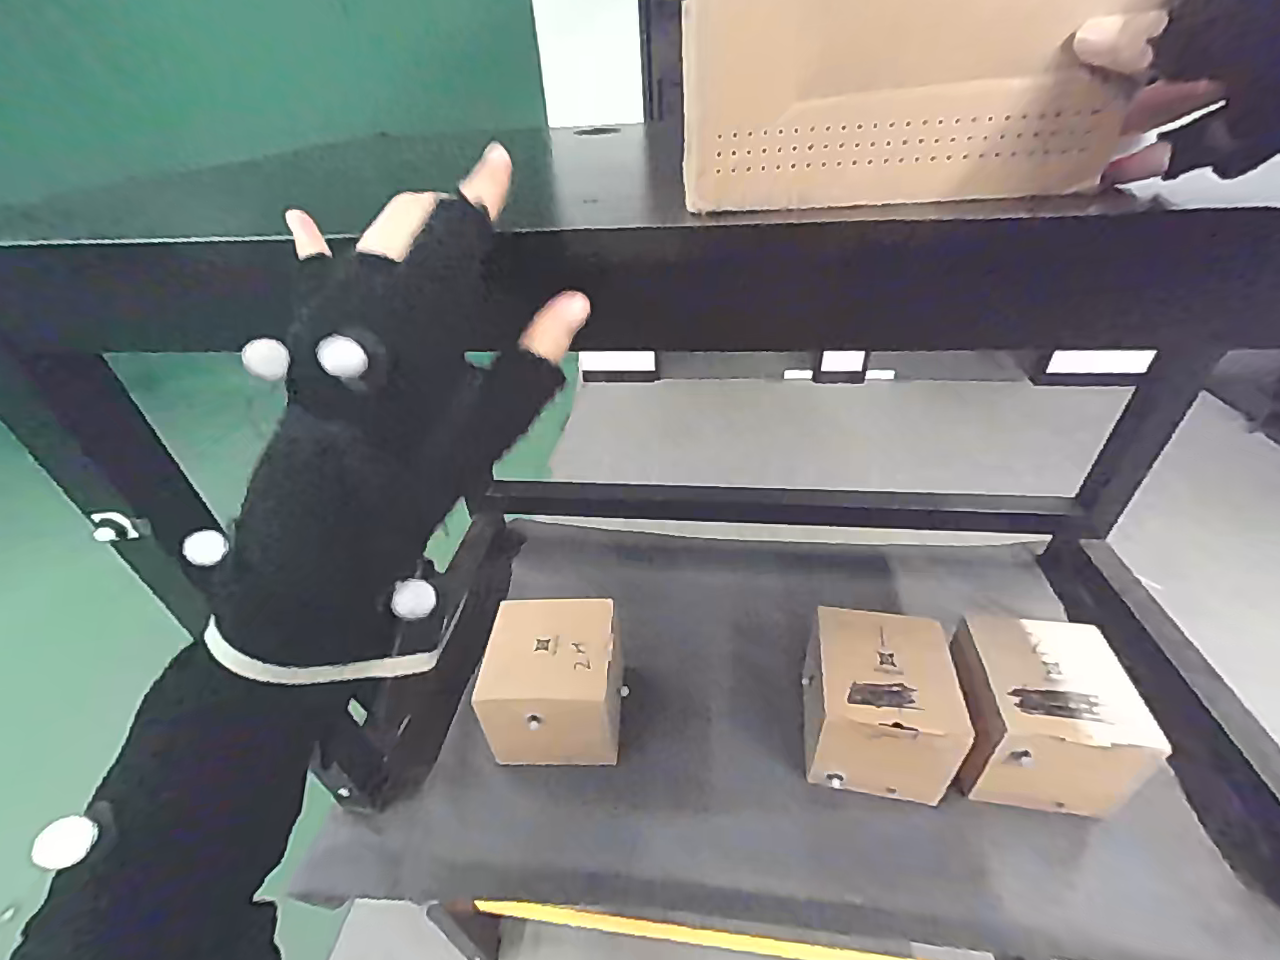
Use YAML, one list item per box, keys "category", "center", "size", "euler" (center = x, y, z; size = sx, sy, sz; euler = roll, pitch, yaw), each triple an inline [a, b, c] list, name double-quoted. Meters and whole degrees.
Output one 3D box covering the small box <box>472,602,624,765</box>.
- category: "small box"
  center: [-0.122, 0.299, 0.796]
  size: [0.179, 0.176, 0.168]
  euler: [-1, 37, 4]
